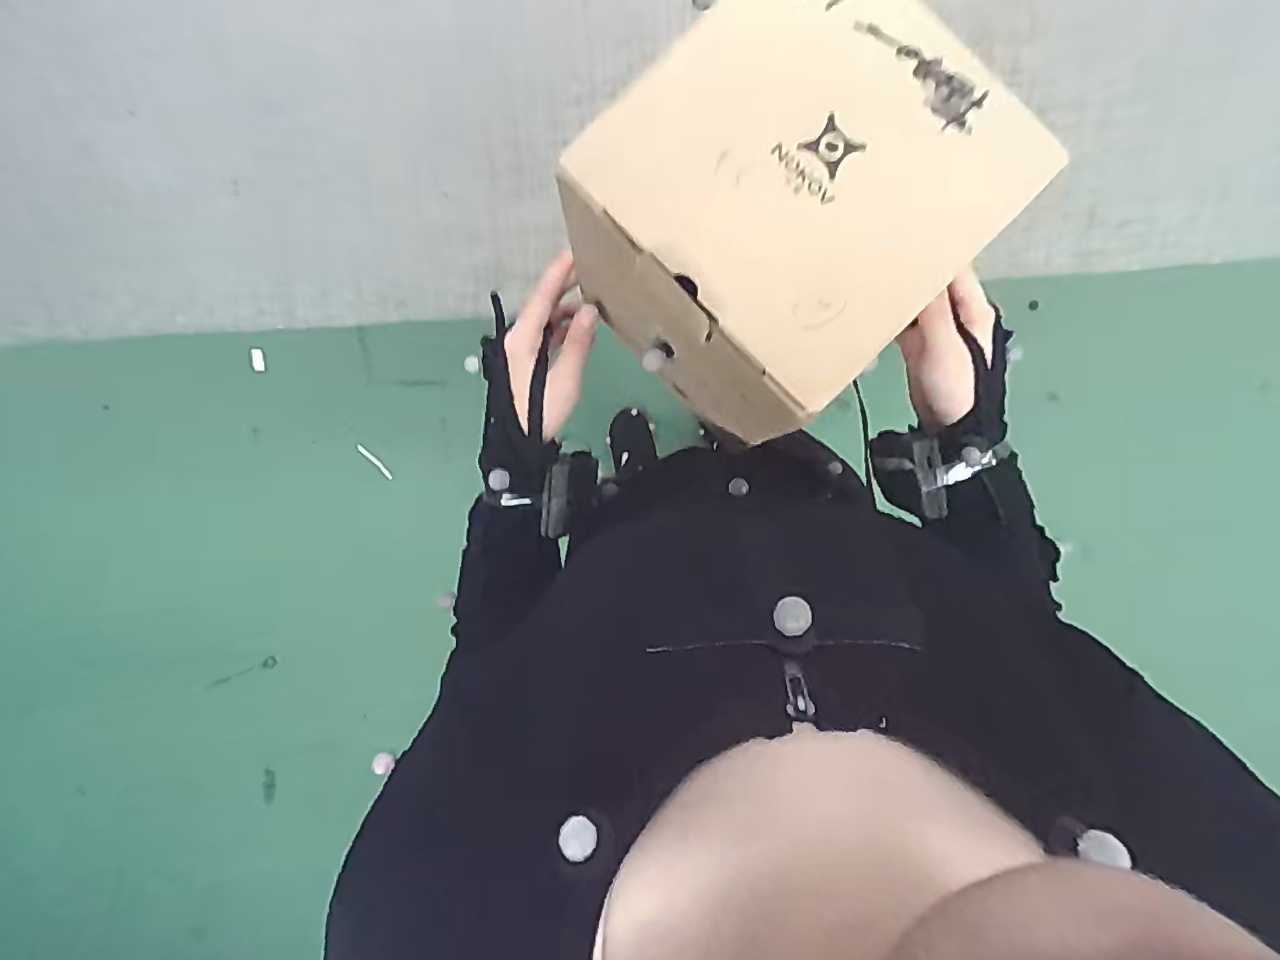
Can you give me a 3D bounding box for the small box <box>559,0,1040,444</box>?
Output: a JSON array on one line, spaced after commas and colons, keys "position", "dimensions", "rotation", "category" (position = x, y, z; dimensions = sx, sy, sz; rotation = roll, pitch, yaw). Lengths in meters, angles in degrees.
[{"position": [0.077, -0.139, 0.339], "dimensions": [0.168, 0.176, 0.179], "rotation": [45, 88, 1], "category": "small box"}]
